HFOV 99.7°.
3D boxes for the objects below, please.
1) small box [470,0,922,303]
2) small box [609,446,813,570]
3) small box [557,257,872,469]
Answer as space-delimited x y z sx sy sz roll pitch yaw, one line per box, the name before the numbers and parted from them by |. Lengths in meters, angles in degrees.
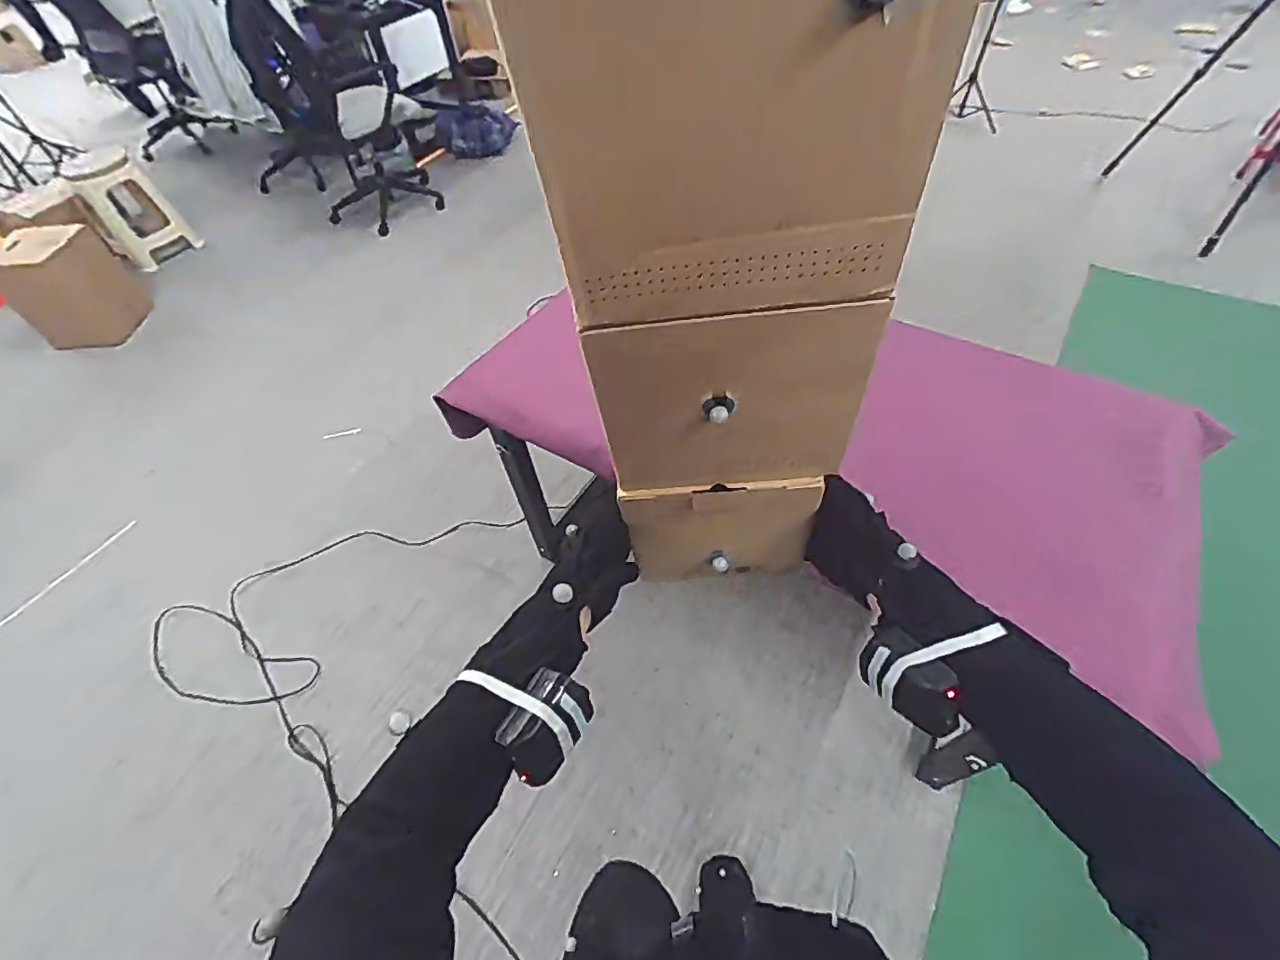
small box | 0.027 -0.210 0.276 0.179 0.176 0.168 -5 55 5
small box | 0.066 -0.026 0.543 0.168 0.176 0.179 -5 56 7
small box | 0.051 -0.121 0.406 0.179 0.176 0.168 -2 54 7
